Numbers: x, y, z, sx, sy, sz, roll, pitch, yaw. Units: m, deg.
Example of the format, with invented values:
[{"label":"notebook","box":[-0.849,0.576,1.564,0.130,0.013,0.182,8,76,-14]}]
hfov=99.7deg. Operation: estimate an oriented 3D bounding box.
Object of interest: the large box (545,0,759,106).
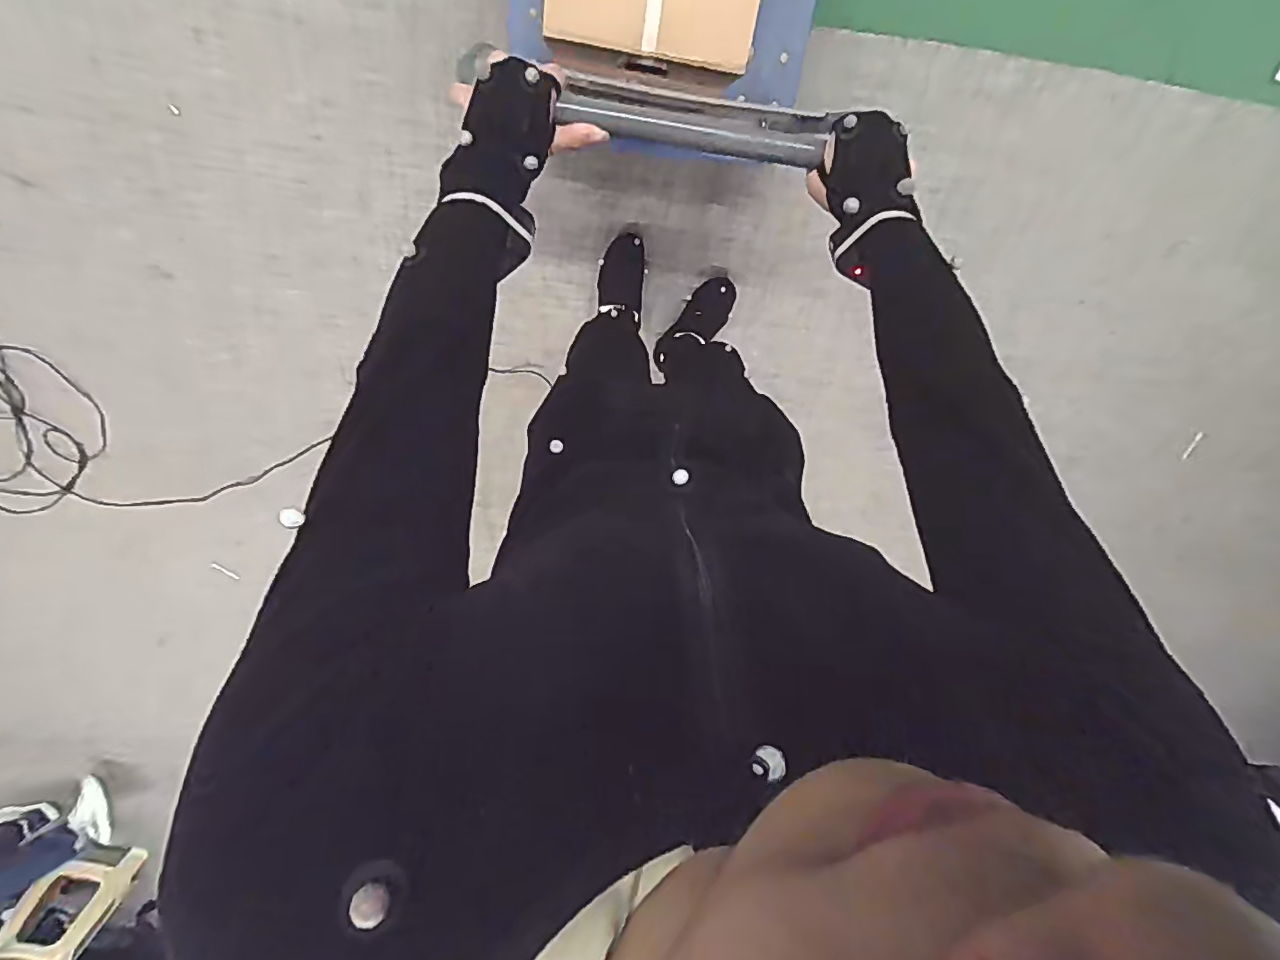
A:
[{"label":"large box","box":[0.028,-0.881,0.870,0.320,0.320,0.408,6,117,-7]}]
